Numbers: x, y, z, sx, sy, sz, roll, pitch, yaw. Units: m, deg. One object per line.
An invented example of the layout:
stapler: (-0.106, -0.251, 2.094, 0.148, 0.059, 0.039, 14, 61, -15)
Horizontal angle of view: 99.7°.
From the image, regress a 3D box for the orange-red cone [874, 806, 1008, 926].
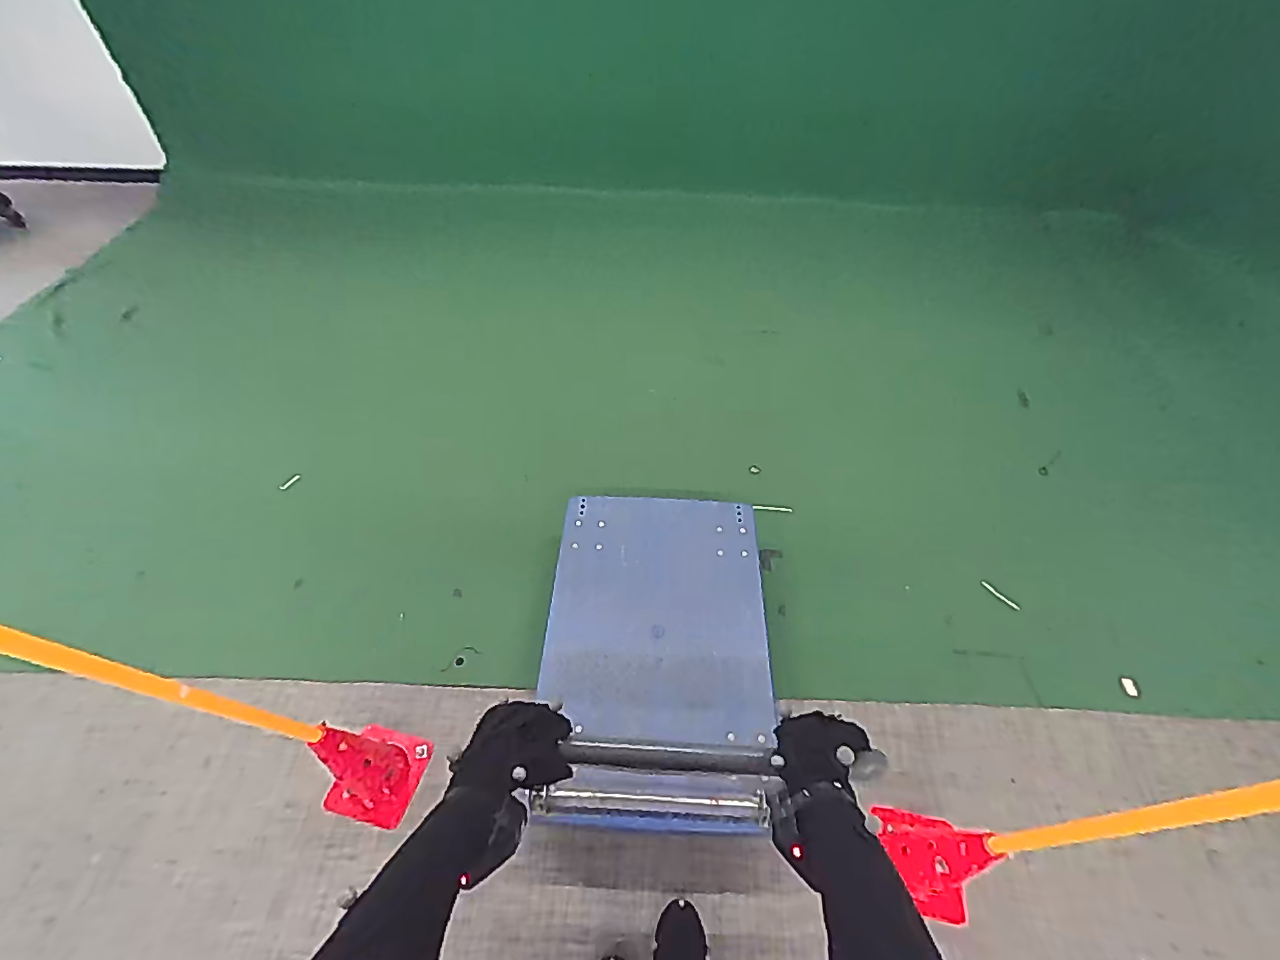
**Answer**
orange-red cone: (0.640, 0.766, 1.104, 0.198, 0.360, 0.199, 10, 51, 8)
